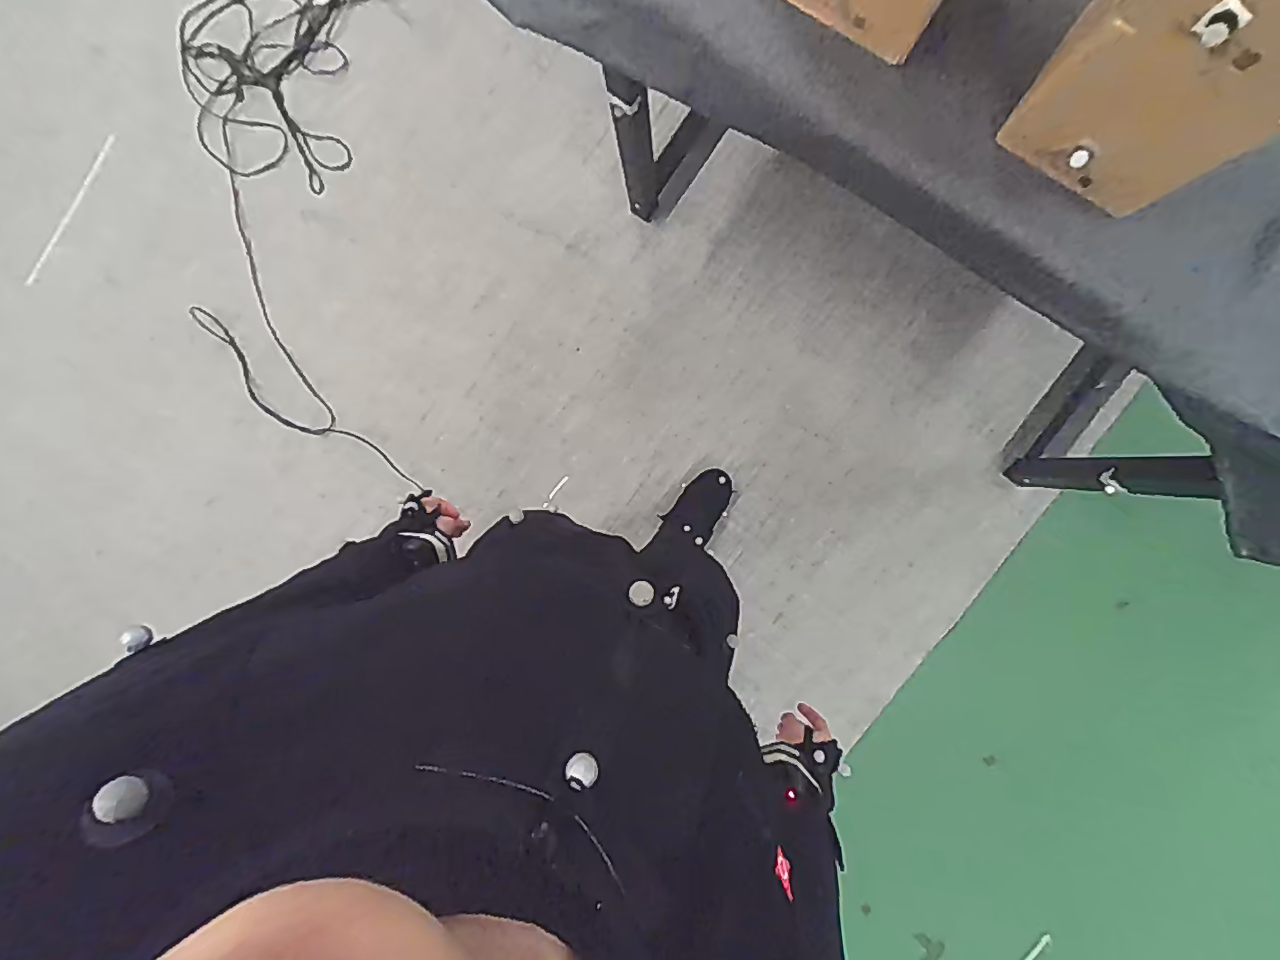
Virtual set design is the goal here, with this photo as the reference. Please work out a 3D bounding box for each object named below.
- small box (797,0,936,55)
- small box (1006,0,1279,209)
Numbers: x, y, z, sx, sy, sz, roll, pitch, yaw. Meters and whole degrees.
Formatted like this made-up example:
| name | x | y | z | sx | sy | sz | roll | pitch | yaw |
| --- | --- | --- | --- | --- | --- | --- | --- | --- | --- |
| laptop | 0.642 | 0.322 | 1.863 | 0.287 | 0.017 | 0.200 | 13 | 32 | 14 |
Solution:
| name | x | y | z | sx | sy | sz | roll | pitch | yaw |
| --- | --- | --- | --- | --- | --- | --- | --- | --- | --- |
| small box | 0.260 | -0.582 | 0.522 | 0.168 | 0.176 | 0.179 | 32 | 94 | 2 |
| small box | 0.501 | -0.404 | 0.510 | 0.168 | 0.176 | 0.179 | 34 | 94 | 2 |
